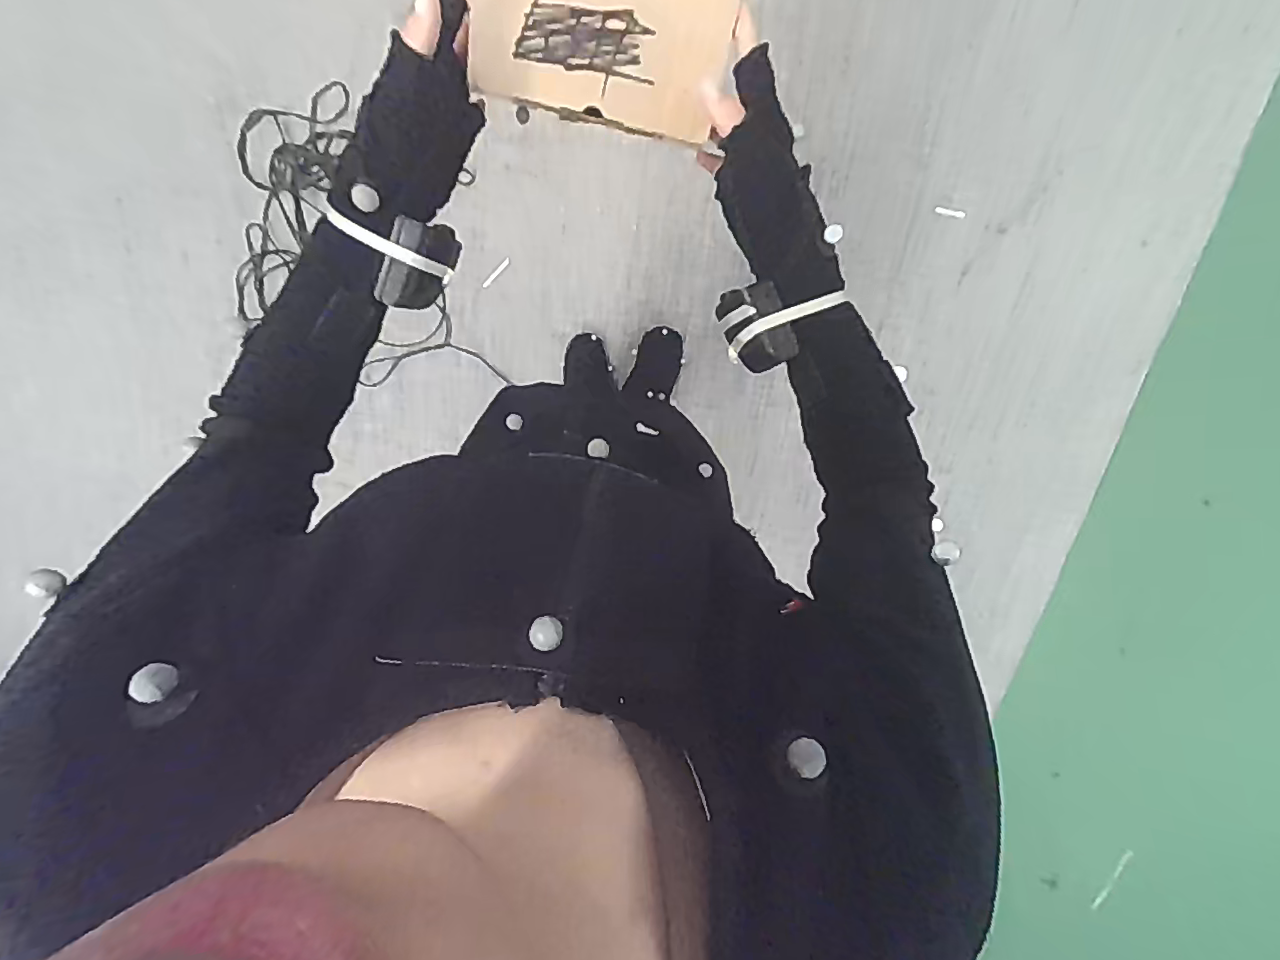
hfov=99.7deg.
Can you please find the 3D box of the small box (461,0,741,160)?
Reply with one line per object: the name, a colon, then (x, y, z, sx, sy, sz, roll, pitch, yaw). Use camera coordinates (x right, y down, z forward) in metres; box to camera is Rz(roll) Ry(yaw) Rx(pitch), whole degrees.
small box: (-0.026, -0.349, 0.383, 0.168, 0.176, 0.179, 6, 122, -14)
